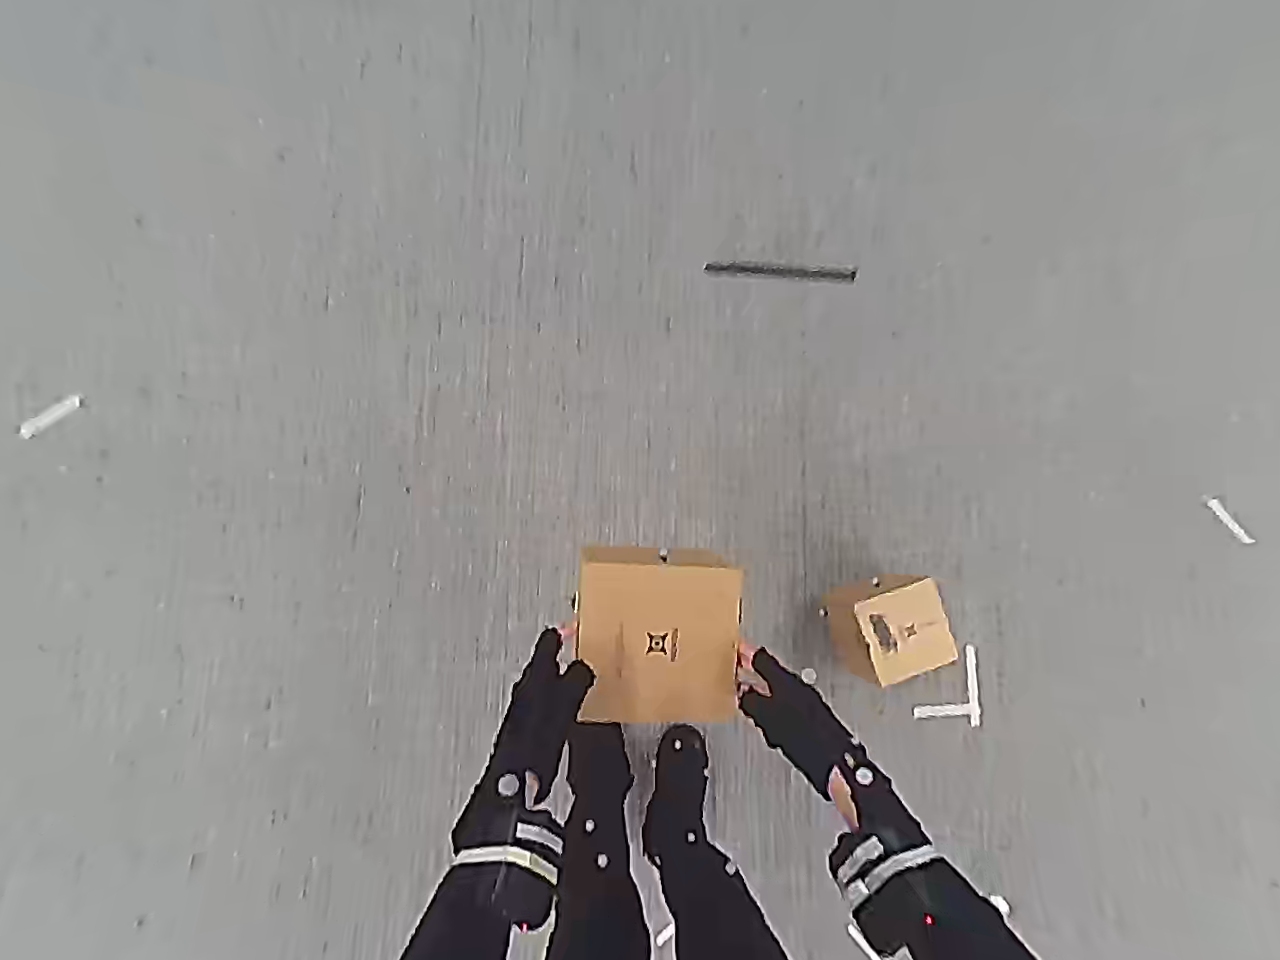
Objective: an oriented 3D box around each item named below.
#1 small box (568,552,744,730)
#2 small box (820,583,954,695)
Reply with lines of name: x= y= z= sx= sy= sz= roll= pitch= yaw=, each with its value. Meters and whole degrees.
small box: x=0.008 y=0.178 z=0.640 sx=0.179 sy=0.176 sz=0.168 roll=4 pitch=88 yaw=-7
small box: x=0.494 y=0.319 z=1.117 sx=0.179 sy=0.176 sz=0.168 roll=-16 pitch=85 yaw=-8
